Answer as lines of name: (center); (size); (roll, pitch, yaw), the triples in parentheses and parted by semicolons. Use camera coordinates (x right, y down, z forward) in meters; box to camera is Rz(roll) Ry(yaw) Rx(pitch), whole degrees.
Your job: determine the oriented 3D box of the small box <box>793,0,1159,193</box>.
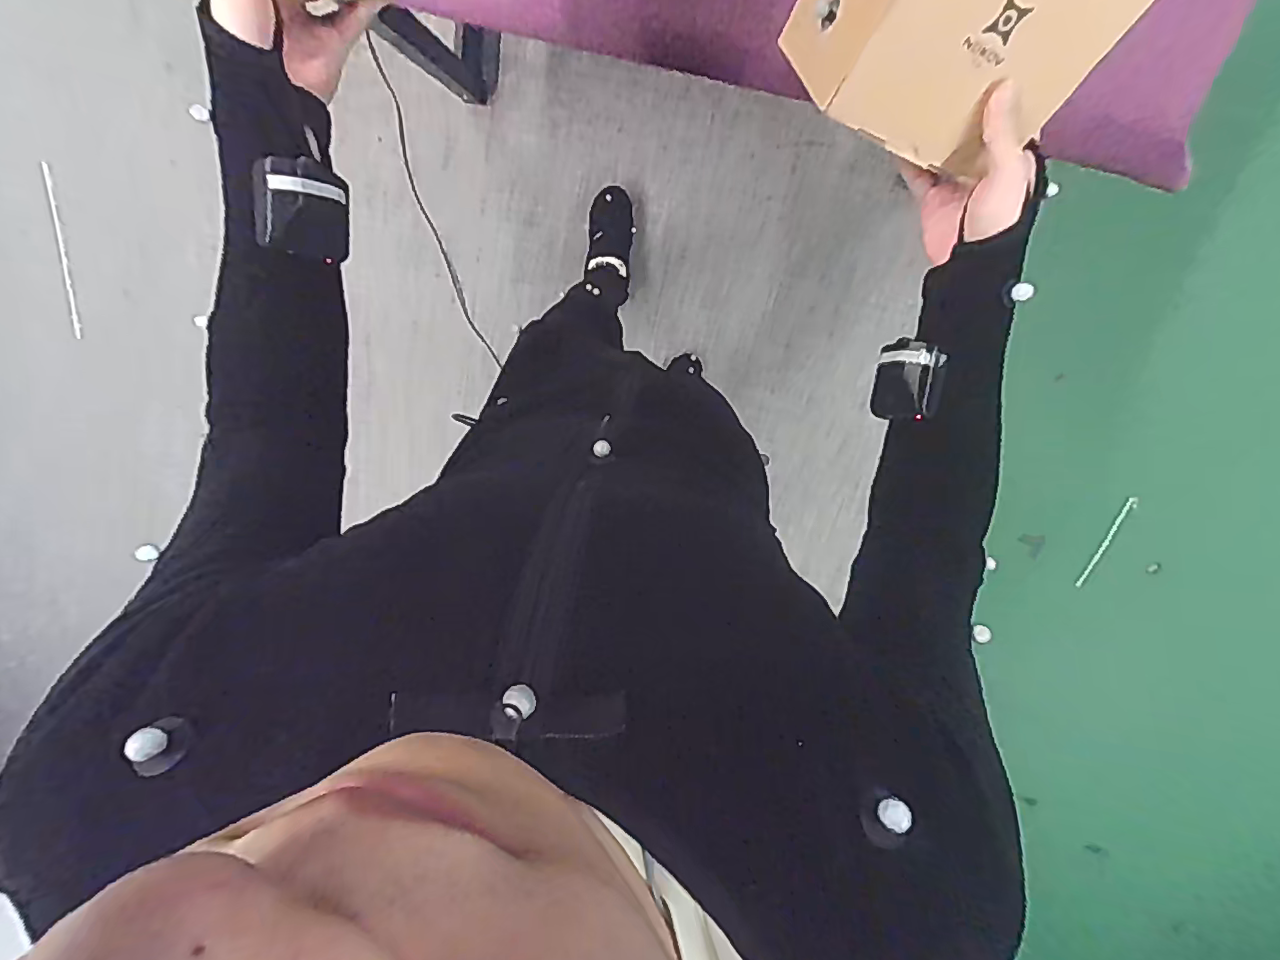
small box: (0.234, -0.363, 0.400); (0.168, 0.176, 0.179); (12, 141, -20)
